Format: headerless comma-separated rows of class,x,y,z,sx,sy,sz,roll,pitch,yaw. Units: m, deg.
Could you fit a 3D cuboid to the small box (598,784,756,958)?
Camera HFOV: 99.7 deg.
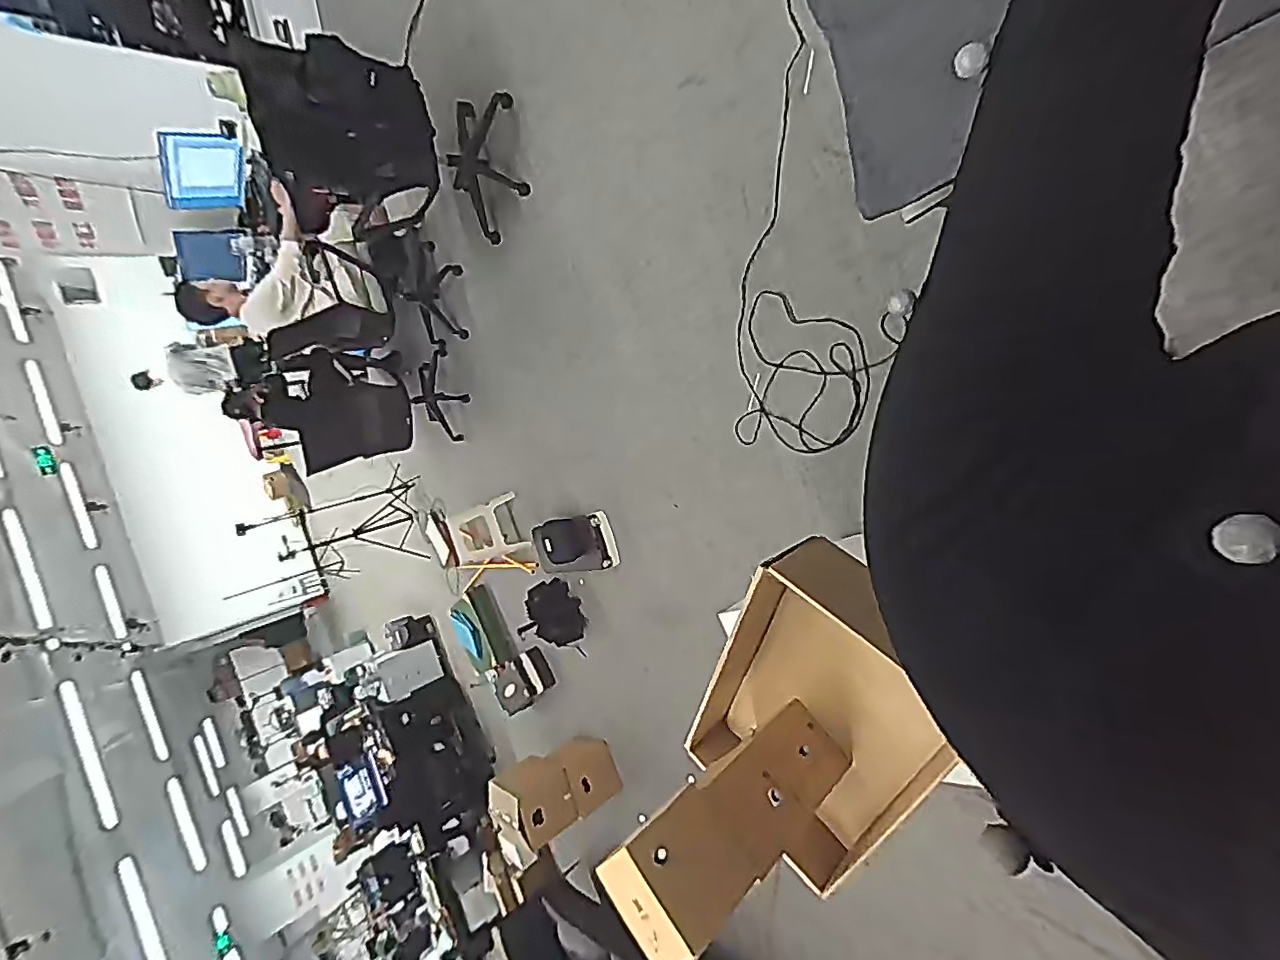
small box,0.061,0.660,0.931,0.179,0.176,0.168,47,135,23

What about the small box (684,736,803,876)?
small box,0.180,0.633,1.044,0.168,0.176,0.179,50,135,20
